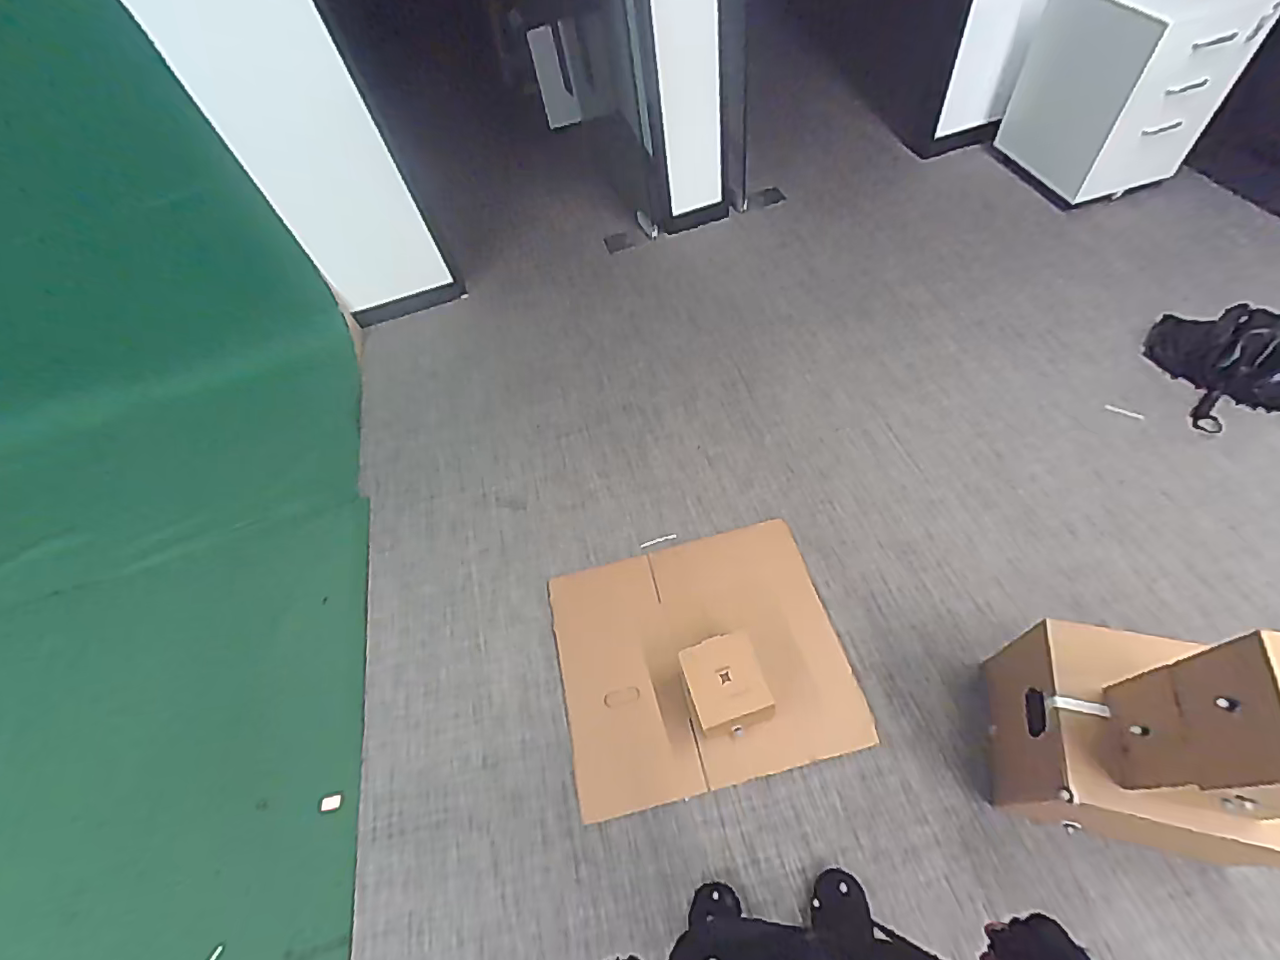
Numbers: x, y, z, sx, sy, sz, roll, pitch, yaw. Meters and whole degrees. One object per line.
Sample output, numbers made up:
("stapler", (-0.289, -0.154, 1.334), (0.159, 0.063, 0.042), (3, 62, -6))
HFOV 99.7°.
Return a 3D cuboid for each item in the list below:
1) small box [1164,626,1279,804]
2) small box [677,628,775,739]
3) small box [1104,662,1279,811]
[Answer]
("small box", (0.826, 0.310, 0.683), (0.168, 0.176, 0.179), (9, 58, 15))
("small box", (0.197, 0.471, 1.243), (0.168, 0.176, 0.179), (-21, 56, 1))
("small box", (0.858, 0.394, 0.824), (0.179, 0.176, 0.168), (4, 56, 12))
